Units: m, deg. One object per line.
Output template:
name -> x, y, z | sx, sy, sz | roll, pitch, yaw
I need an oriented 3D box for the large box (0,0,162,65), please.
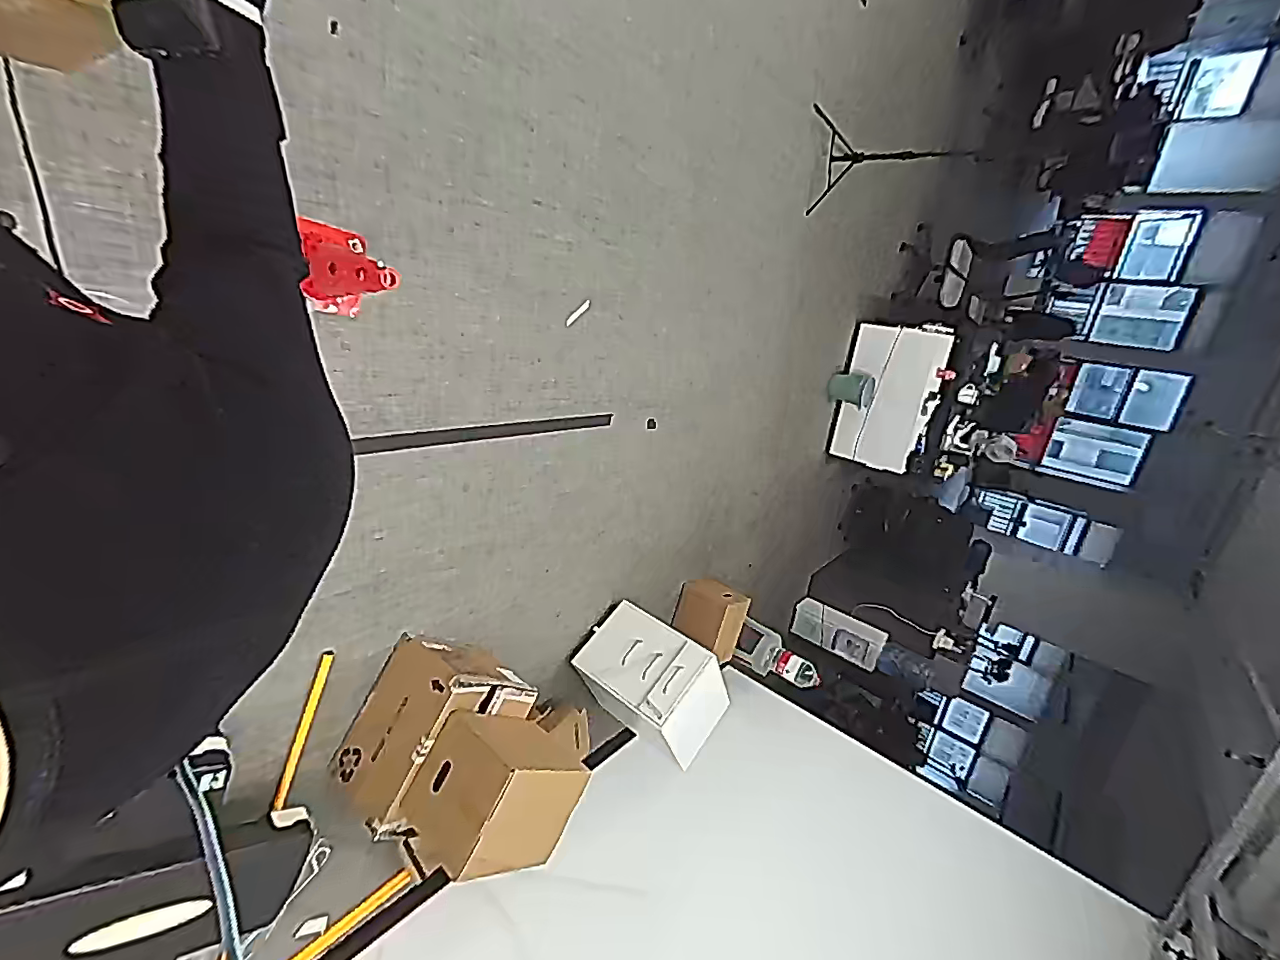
large box -> -0.536, -0.450, 0.235 | 0.408, 0.320, 0.320 | -18, 123, -50

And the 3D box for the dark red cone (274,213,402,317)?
dark red cone -> -0.626, -0.448, 1.178 | 0.201, 0.394, 0.202 | -4, 111, -50
